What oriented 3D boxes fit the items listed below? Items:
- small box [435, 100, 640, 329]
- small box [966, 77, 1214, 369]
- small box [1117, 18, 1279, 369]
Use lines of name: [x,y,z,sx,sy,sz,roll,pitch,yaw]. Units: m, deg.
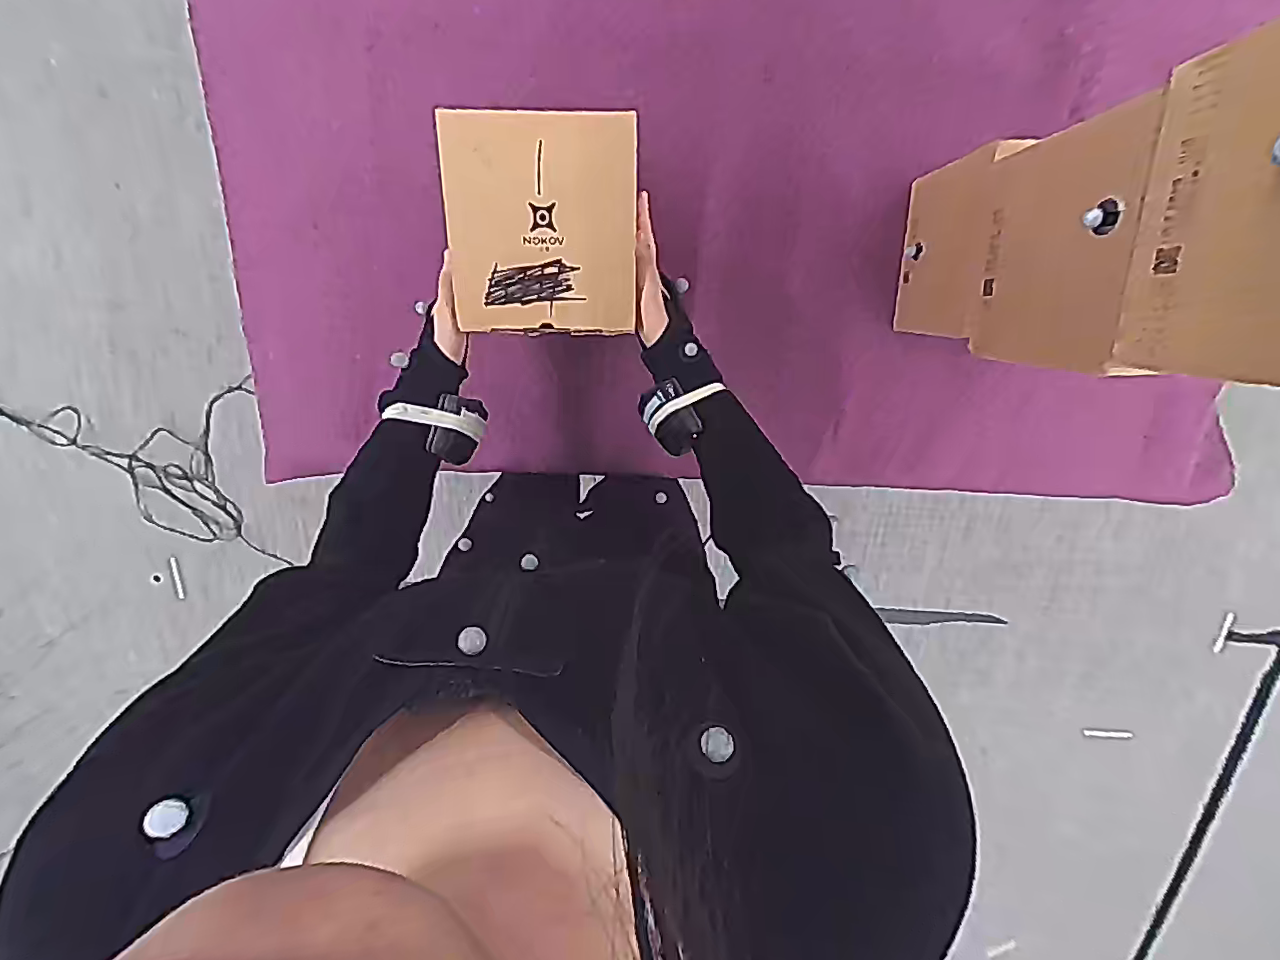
small box: [-0.085,-0.249,0.537,0.168,0.176,0.179,1,110,-1]
small box: [0.388,-0.178,0.406,0.179,0.176,0.168,-3,107,2]
small box: [0.382,-0.136,0.248,0.179,0.176,0.168,-2,108,2]
